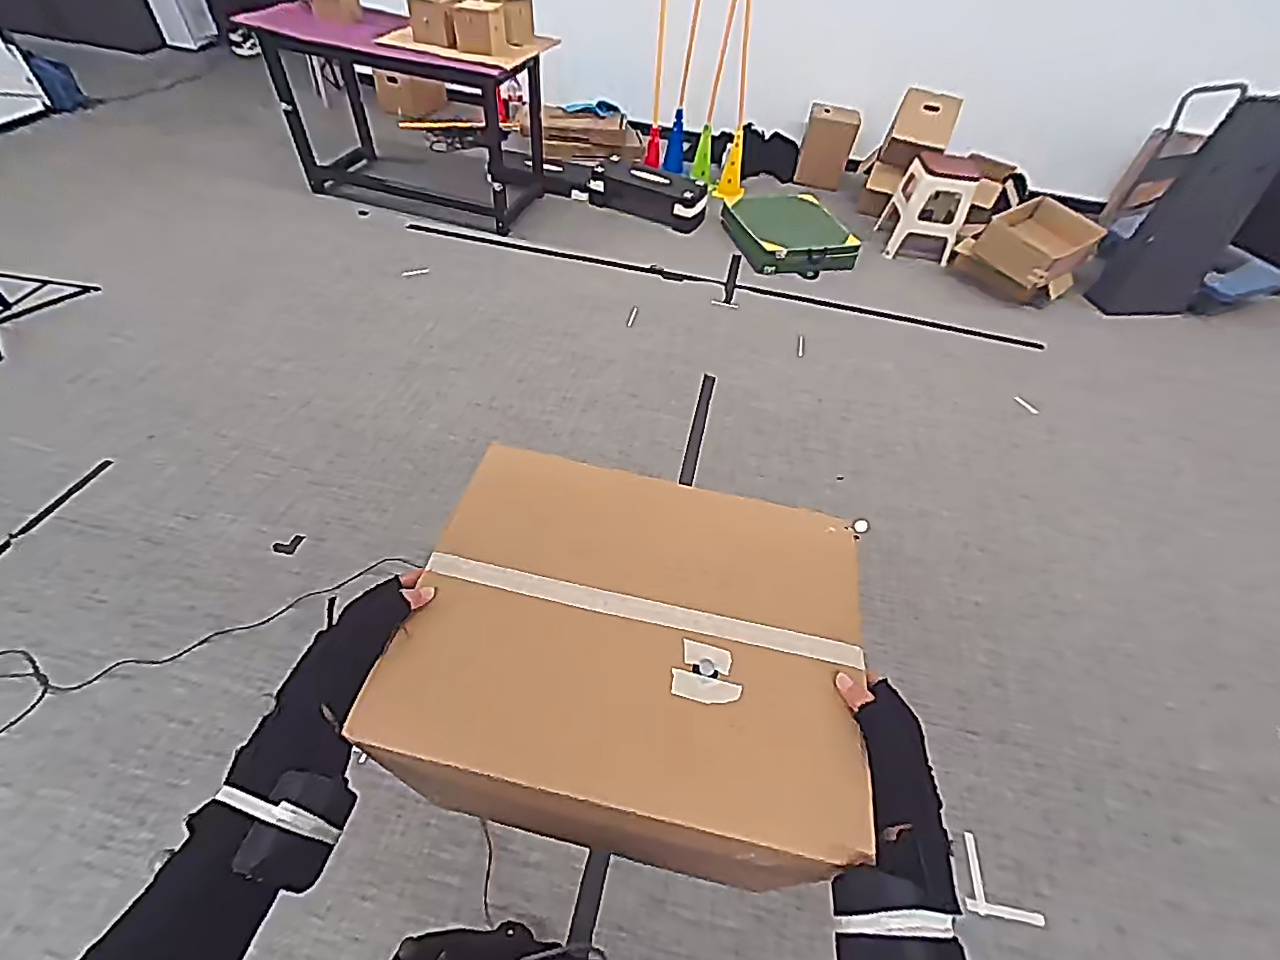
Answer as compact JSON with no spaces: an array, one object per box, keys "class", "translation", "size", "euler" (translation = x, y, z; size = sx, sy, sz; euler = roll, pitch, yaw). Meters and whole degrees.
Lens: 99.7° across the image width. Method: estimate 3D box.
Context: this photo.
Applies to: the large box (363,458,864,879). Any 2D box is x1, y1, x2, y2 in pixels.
[{"class":"large box","translation":[-0.013,0.219,0.620],"size":[0.408,0.320,0.320],"euler":[12,51,3]}]
